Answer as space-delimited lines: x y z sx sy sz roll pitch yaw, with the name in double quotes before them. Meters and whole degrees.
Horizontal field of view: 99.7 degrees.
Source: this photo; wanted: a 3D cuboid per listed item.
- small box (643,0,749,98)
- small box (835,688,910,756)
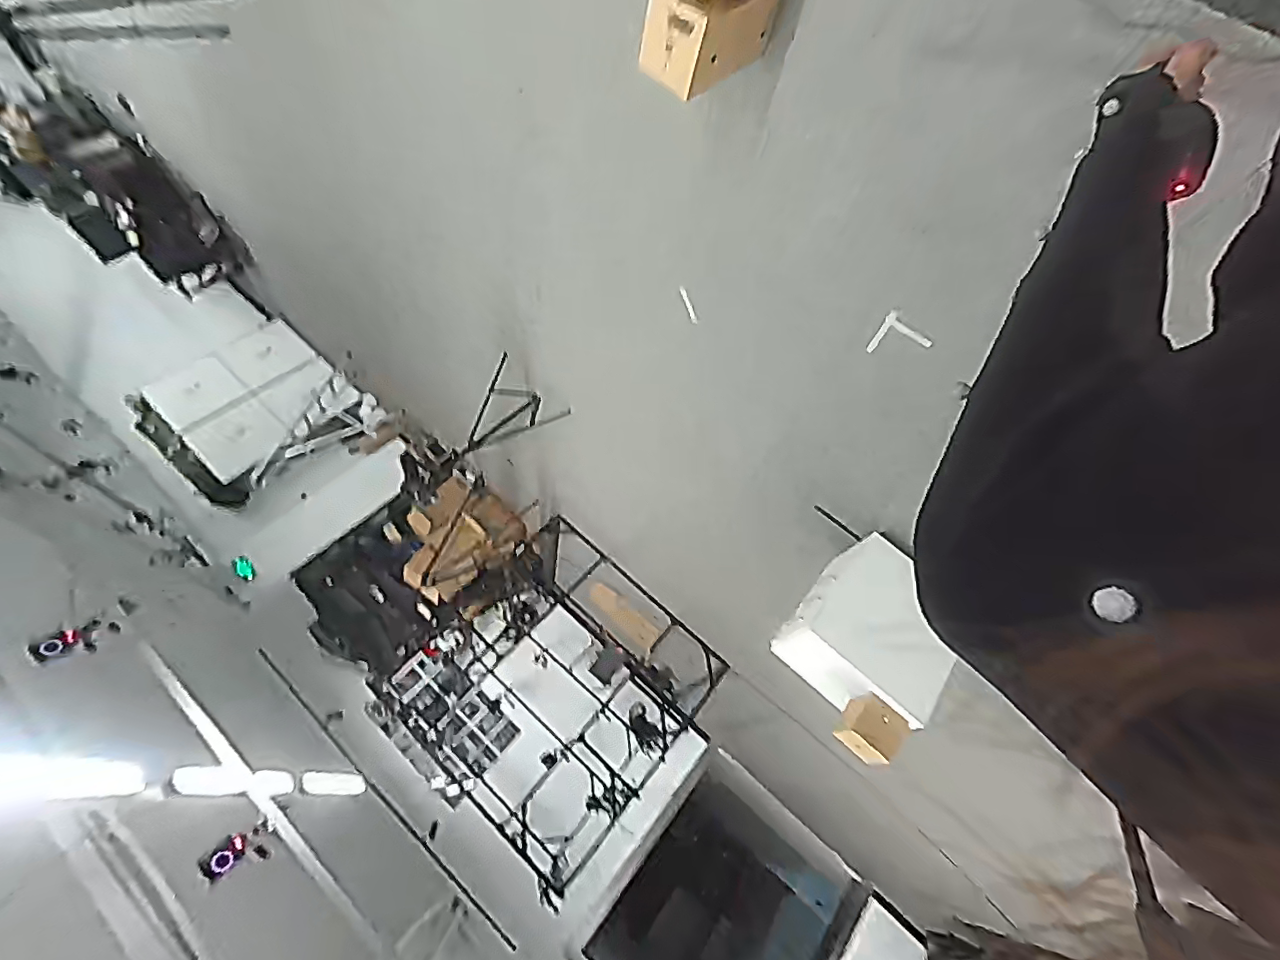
"small box" 0.135 -1.075 1.293 0.168 0.176 0.179 43 156 8
"small box" 0.877 0.910 2.035 0.168 0.176 0.179 40 154 12
